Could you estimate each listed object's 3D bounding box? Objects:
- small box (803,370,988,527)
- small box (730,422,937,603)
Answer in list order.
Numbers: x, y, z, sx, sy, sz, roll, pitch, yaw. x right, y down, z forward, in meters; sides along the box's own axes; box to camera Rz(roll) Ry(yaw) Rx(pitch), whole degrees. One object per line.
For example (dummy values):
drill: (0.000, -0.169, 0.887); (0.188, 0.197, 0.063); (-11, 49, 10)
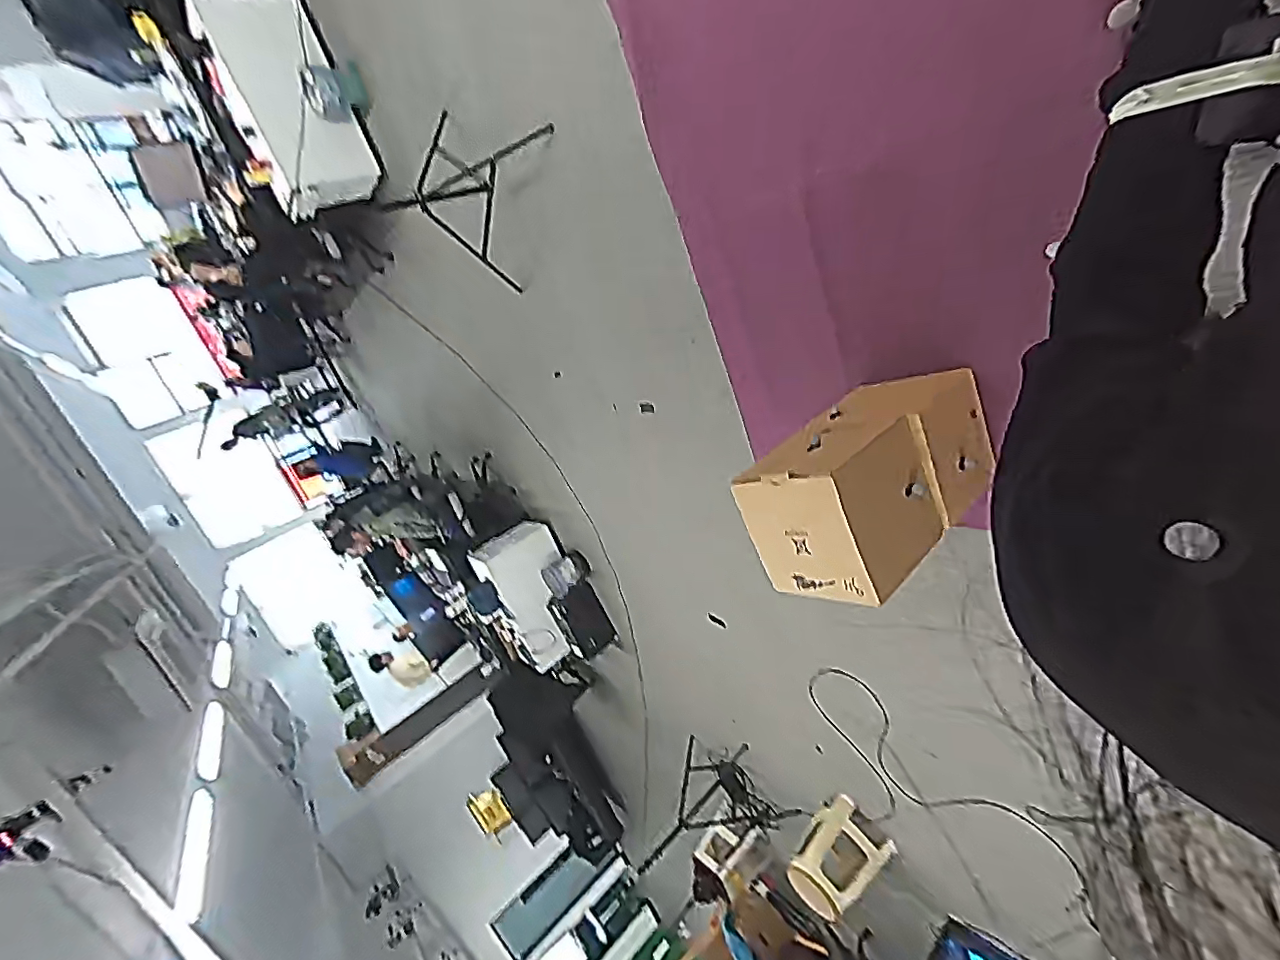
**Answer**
small box: (0.379, -0.047, 0.791); (0.179, 0.176, 0.168); (-2, 116, 56)
small box: (0.257, 0.034, 0.715); (0.168, 0.176, 0.179); (-5, 113, 57)
